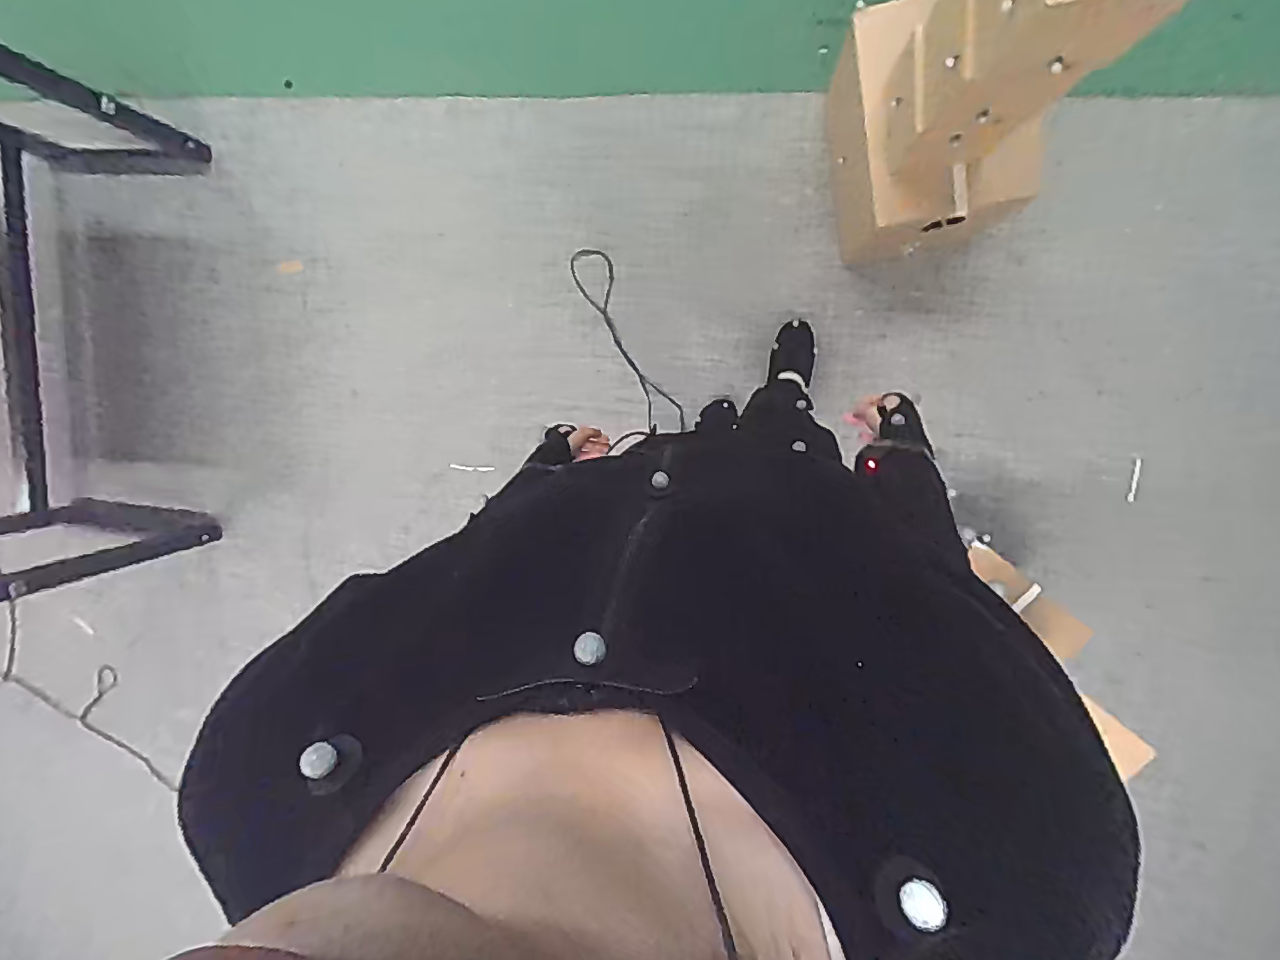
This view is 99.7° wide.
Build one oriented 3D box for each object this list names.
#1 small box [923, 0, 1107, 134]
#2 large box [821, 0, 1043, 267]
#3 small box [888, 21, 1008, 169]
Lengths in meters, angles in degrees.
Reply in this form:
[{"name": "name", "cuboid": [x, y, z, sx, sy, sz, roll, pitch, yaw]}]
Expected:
[{"name": "small box", "cuboid": [0.527, -0.639, 0.781, 0.168, 0.176, 0.179, -2, 99, 8]}, {"name": "large box", "cuboid": [0.601, -0.733, 1.172, 0.320, 0.320, 0.408, -9, 96, 8]}, {"name": "small box", "cuboid": [0.542, -0.666, 0.940, 0.179, 0.176, 0.168, -3, 99, 9]}]
